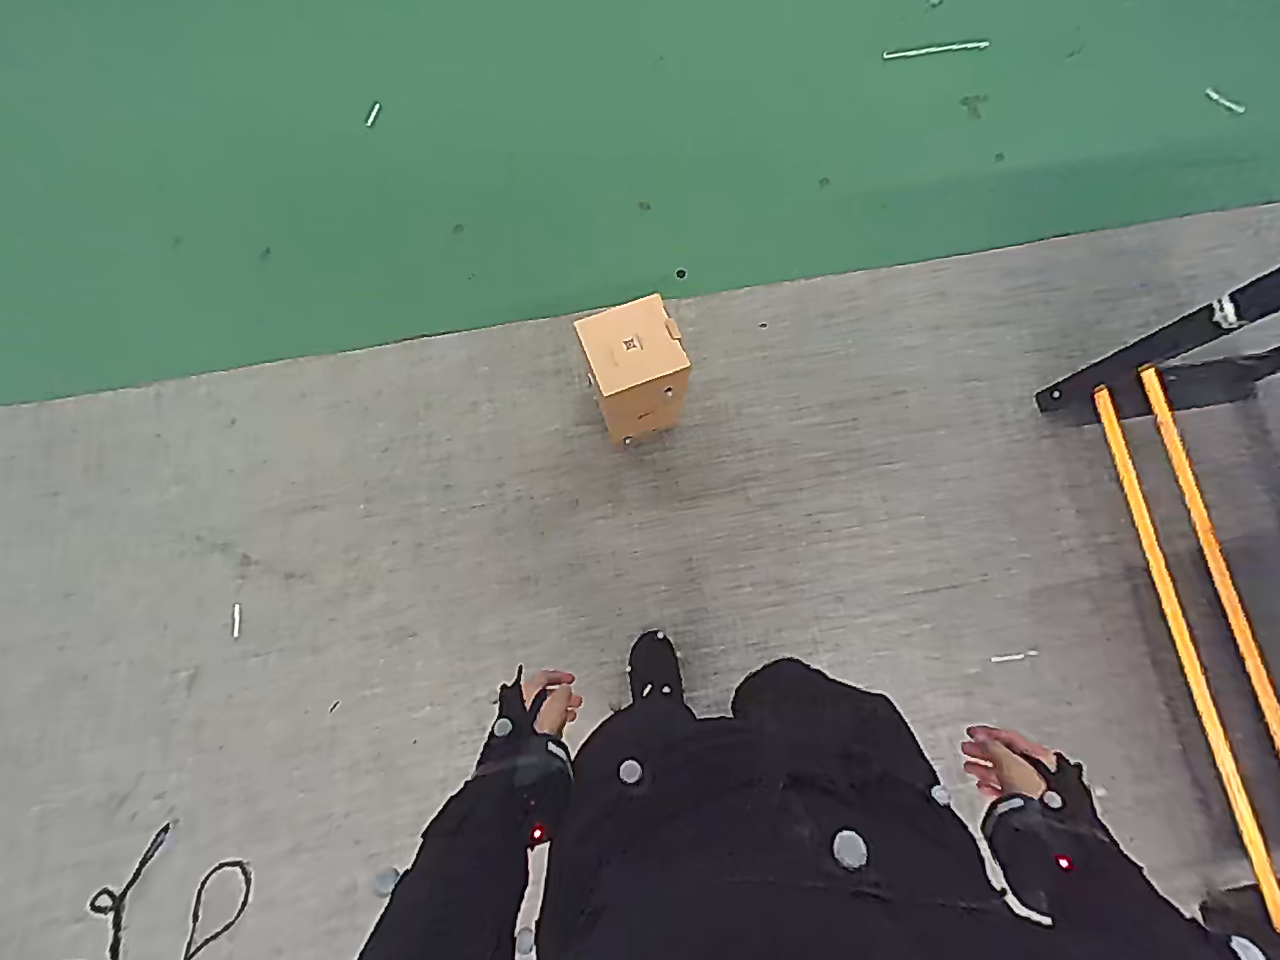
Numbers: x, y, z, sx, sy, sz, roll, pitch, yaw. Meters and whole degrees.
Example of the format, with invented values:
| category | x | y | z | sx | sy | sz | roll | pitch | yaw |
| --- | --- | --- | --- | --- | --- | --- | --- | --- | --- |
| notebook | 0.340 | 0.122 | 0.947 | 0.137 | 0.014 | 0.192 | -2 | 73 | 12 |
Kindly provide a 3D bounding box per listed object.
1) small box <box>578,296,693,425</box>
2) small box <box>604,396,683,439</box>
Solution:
| category | x | y | z | sx | sy | sz | roll | pitch | yaw |
| --- | --- | --- | --- | --- | --- | --- | --- | --- | --- |
| small box | -0.011 | -0.233 | 1.088 | 0.179 | 0.176 | 0.168 | -22 | 77 | -5 |
| small box | -0.009 | -0.207 | 1.249 | 0.168 | 0.176 | 0.179 | -19 | 77 | -5 |
